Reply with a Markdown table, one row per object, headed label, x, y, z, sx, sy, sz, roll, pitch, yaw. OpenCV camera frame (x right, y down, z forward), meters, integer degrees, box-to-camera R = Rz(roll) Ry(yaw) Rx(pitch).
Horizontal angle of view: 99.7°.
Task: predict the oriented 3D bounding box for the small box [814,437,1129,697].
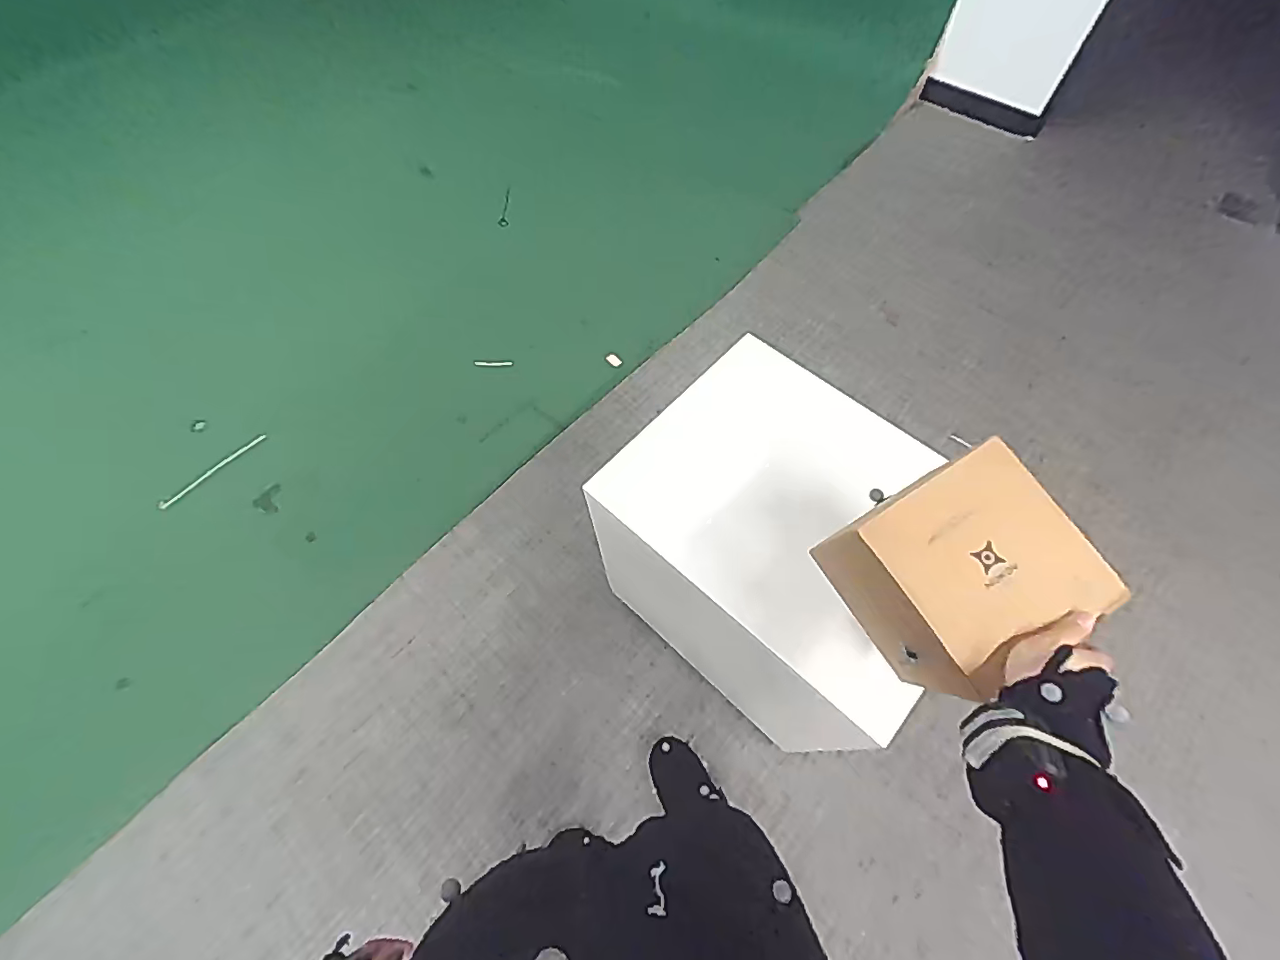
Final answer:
| label | x | y | z | sx | sy | sz | roll | pitch | yaw |
| --- | --- | --- | --- | --- | --- | --- | --- | --- | --- |
| small box | 0.311 | 0.090 | 0.551 | 0.168 | 0.176 | 0.179 | -33 | 75 | -7 |
